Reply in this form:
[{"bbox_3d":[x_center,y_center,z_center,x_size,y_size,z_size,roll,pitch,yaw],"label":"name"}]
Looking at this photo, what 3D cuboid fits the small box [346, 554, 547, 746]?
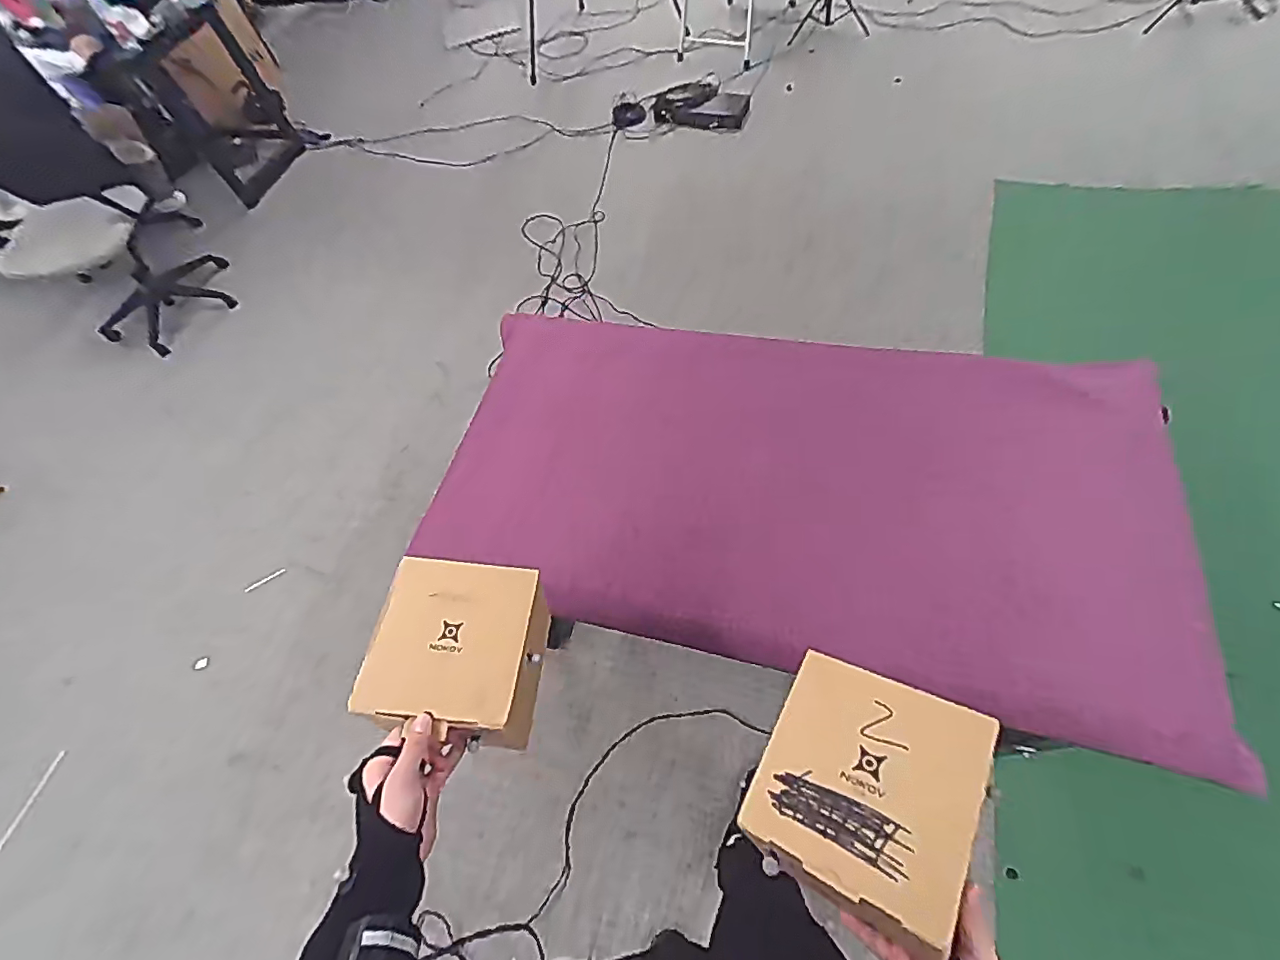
[{"bbox_3d":[-0.212,0.212,0.657,0.168,0.176,0.179,7,55,1],"label":"small box"}]
